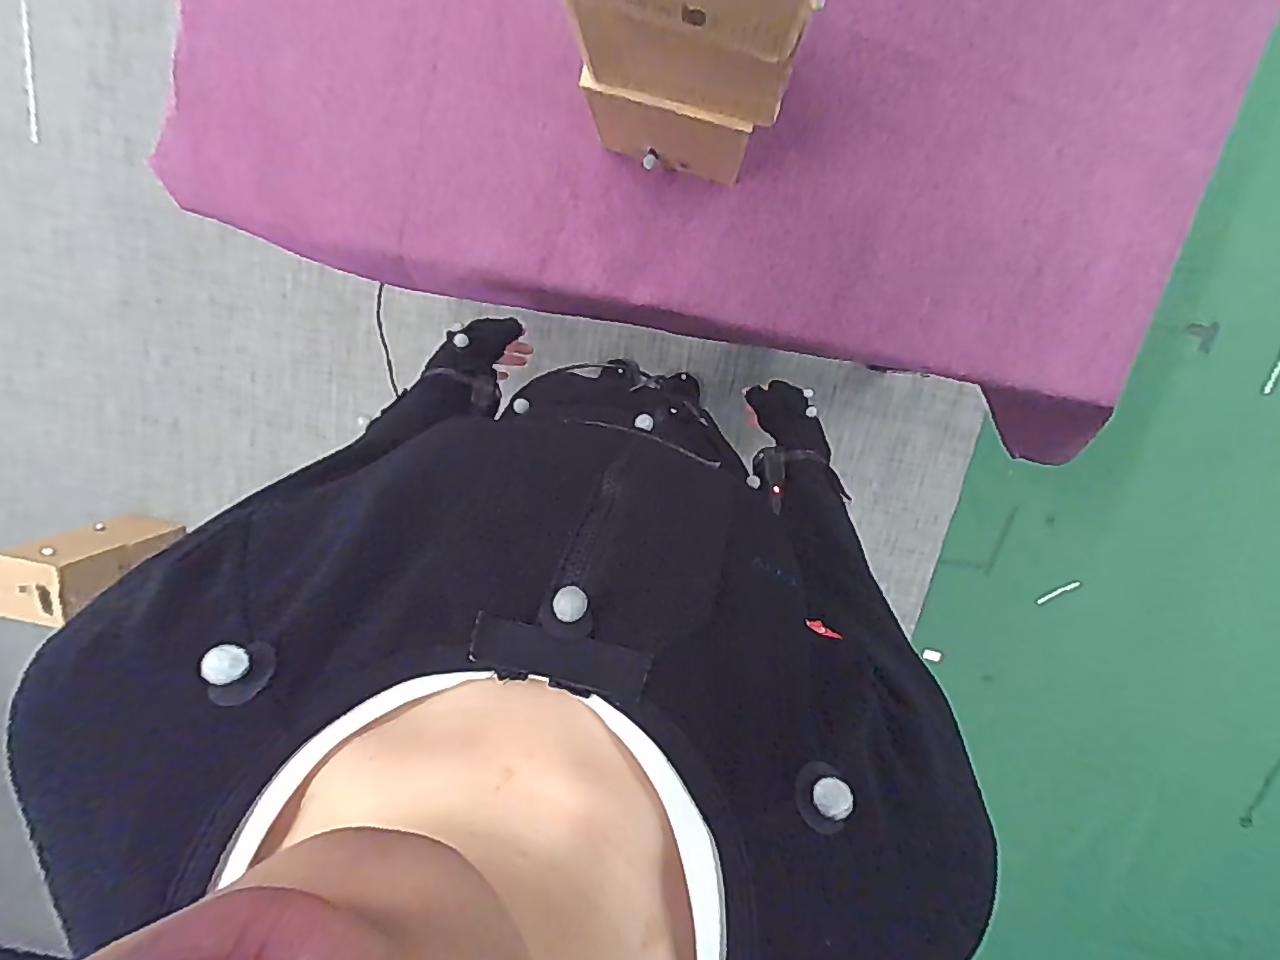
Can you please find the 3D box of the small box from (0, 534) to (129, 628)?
[{"bbox_3d":[-1.454,0.250,1.374,0.179,0.176,0.168,10,104,2],"label":"small box"}]

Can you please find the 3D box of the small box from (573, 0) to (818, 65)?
[{"bbox_3d":[0.037,-0.340,0.236,0.168,0.176,0.179,17,102,0],"label":"small box"}]

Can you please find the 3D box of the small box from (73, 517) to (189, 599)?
[{"bbox_3d":[-1.438,0.214,1.534,0.179,0.176,0.168,11,104,0],"label":"small box"}]

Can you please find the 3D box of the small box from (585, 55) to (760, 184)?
[{"bbox_3d":[0.054,-0.435,0.548,0.168,0.176,0.179,16,104,0],"label":"small box"}]

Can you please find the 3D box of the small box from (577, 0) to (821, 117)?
[{"bbox_3d":[0.051,-0.399,0.390,0.179,0.176,0.168,15,103,0],"label":"small box"}]
